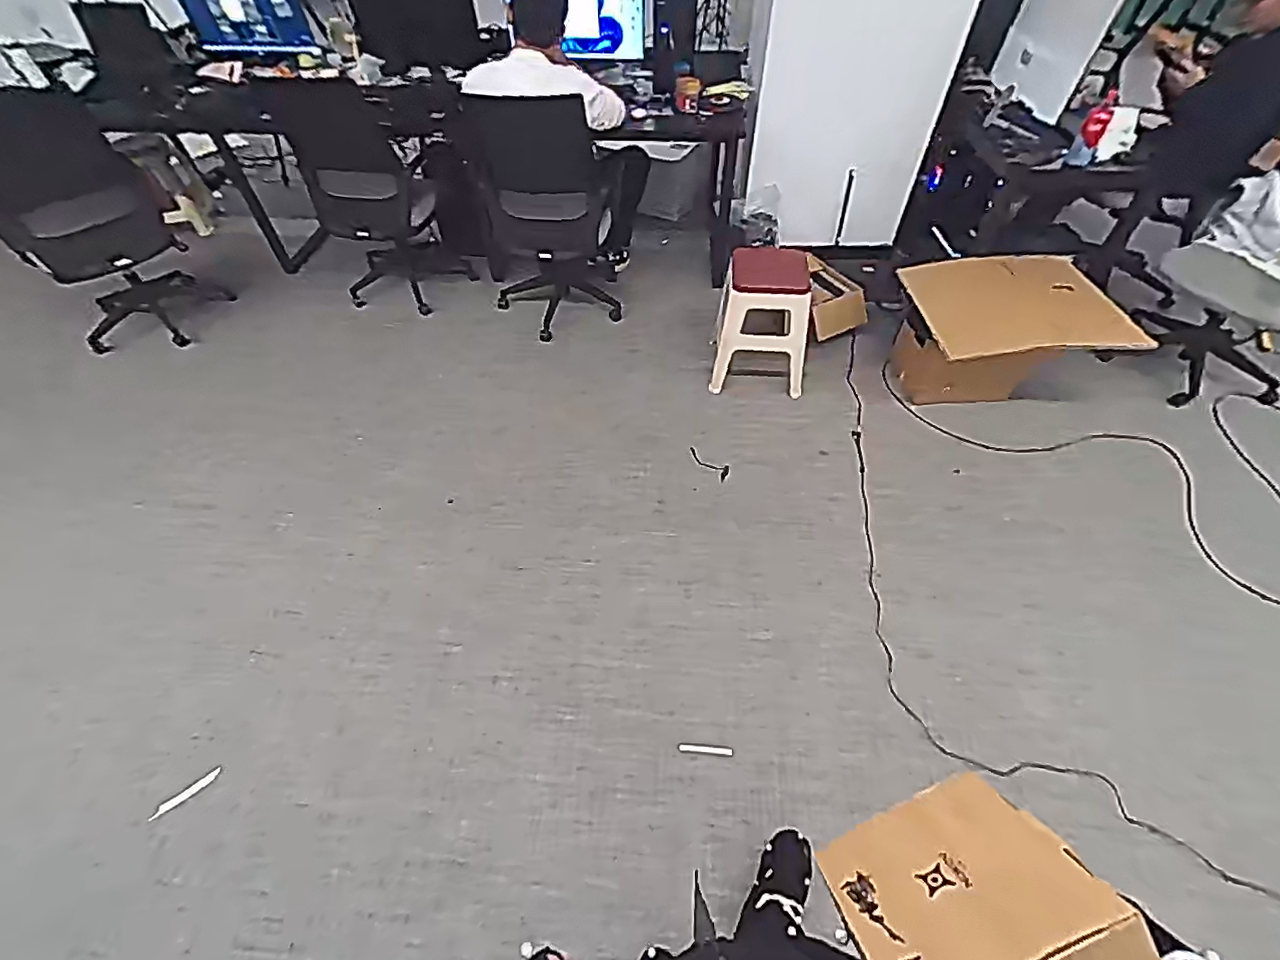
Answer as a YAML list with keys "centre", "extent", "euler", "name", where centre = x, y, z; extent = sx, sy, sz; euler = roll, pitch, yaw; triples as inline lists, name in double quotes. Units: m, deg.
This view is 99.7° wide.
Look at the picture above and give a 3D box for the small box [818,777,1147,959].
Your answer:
- centre: [0.285, 0.401, 0.450]
  extent: [0.179, 0.168, 0.176]
  euler: [-25, 92, -3]
  name: "small box"
